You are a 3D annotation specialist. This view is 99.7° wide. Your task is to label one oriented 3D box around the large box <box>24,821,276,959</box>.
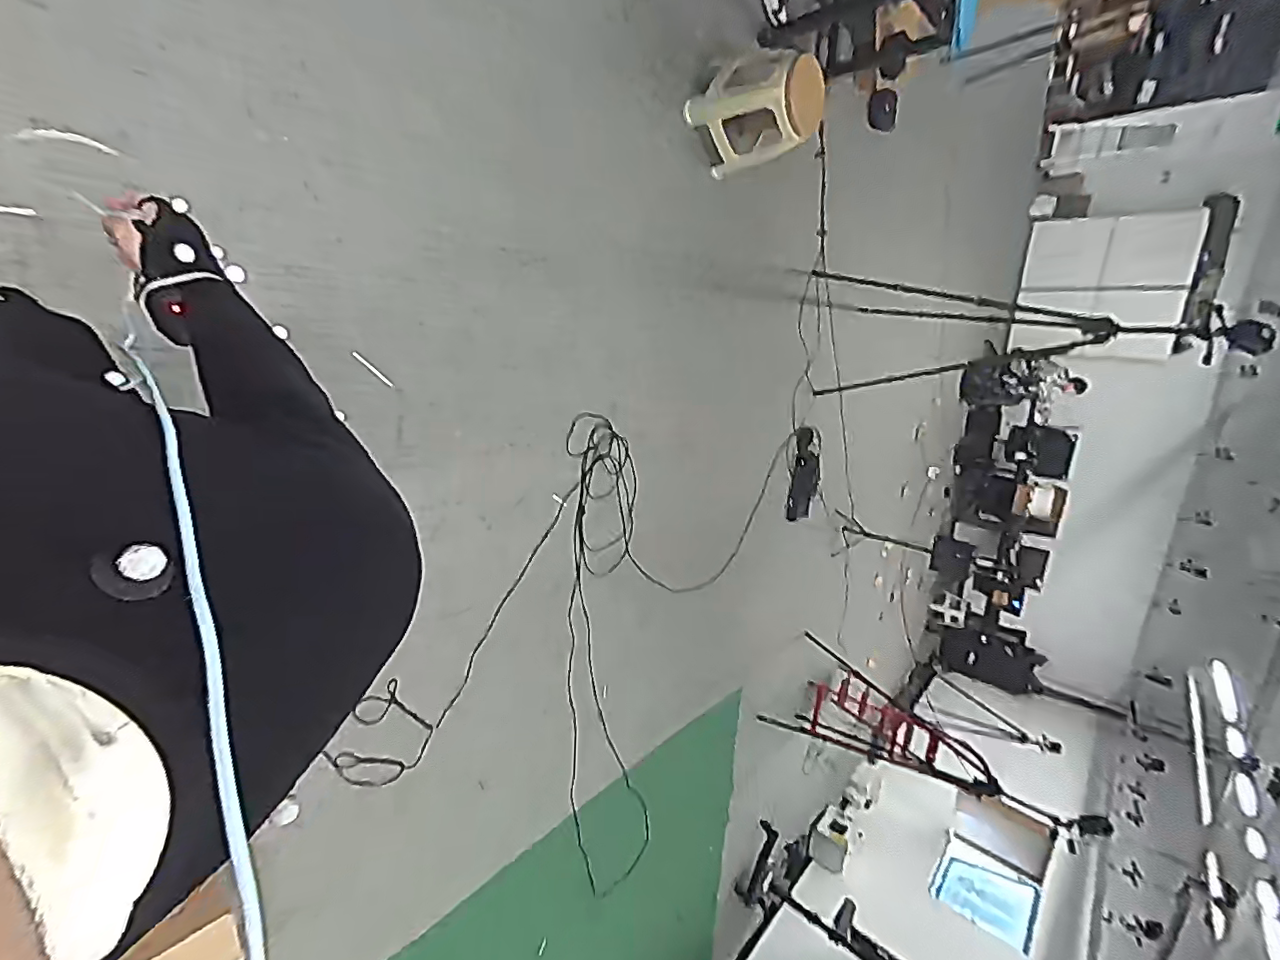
[{"bbox_3d":[-1.198,1.176,1.347,0.408,0.320,0.320,-16,112,-44],"label":"large box"}]
